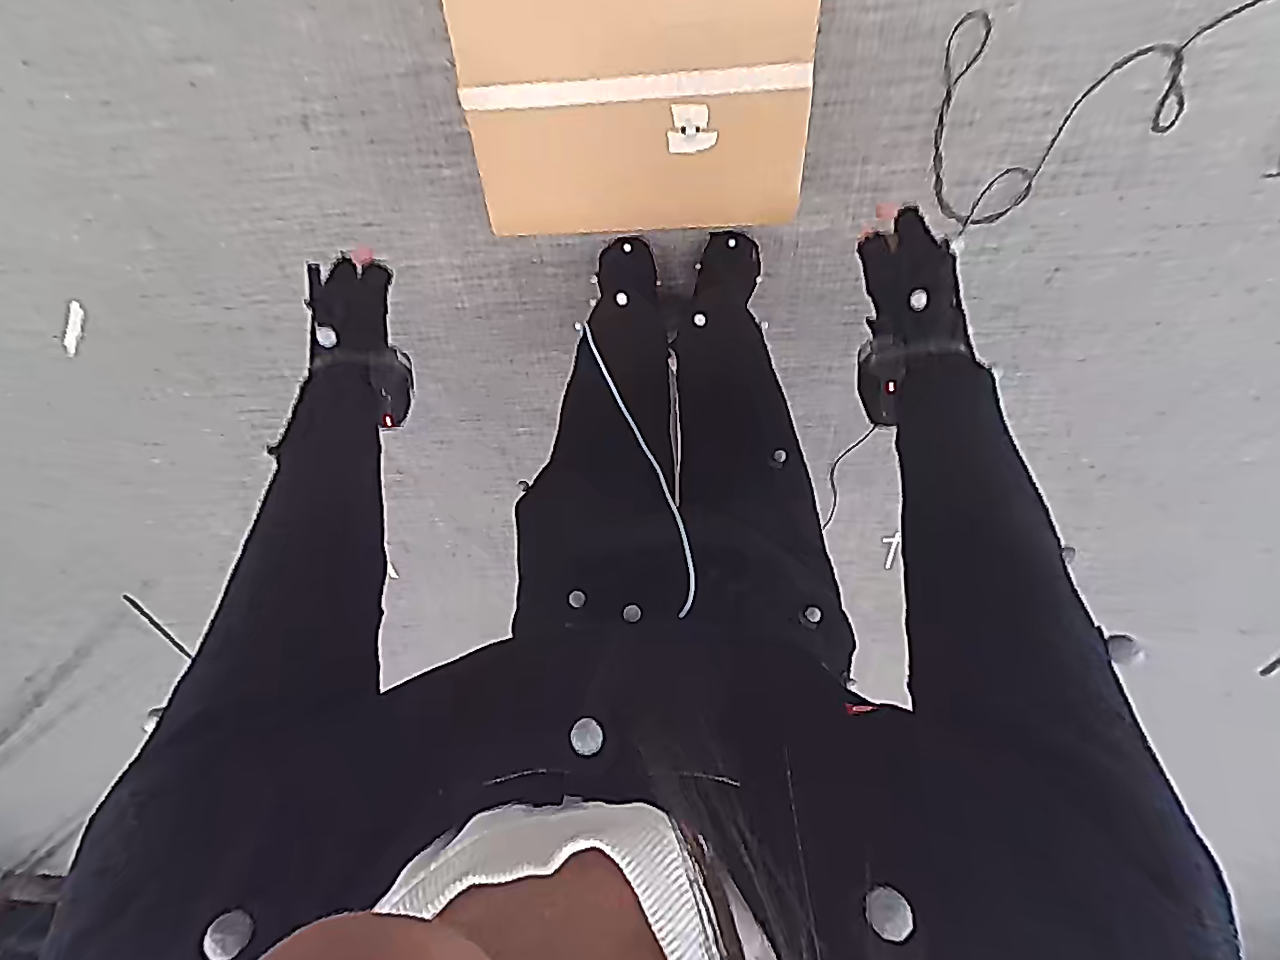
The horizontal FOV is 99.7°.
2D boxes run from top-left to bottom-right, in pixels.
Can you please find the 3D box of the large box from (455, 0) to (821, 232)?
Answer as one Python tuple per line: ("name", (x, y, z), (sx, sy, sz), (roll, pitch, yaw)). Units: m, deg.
("large box", (0.006, -0.557, 0.745), (0.408, 0.320, 0.320), (-1, 129, 4))
